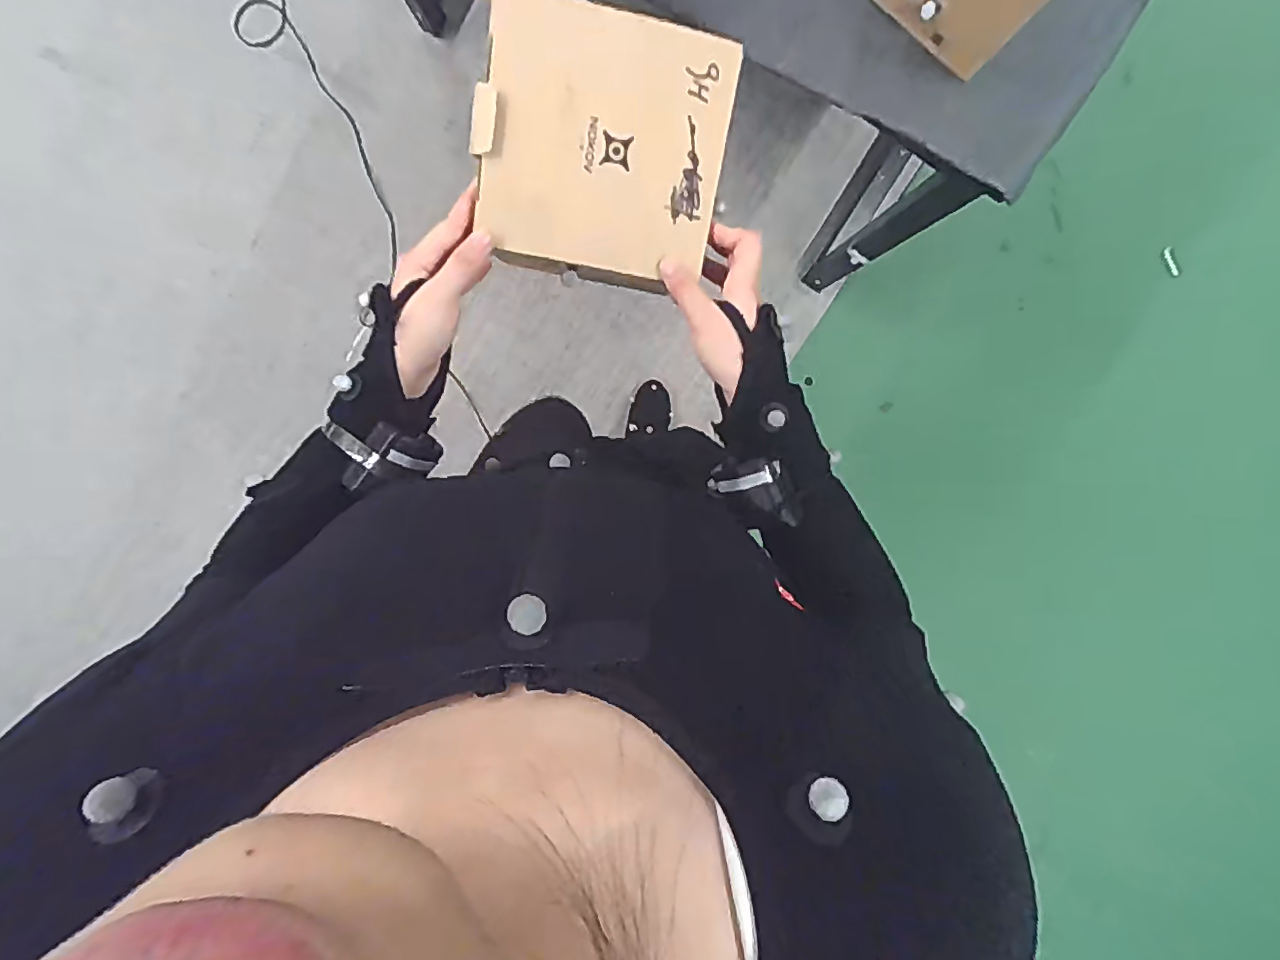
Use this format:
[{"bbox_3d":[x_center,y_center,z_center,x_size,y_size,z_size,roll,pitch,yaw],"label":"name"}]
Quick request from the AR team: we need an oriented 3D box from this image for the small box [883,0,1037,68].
[{"bbox_3d":[0.378,-0.592,0.554,0.168,0.176,0.179,38,95,-4],"label":"small box"}]
